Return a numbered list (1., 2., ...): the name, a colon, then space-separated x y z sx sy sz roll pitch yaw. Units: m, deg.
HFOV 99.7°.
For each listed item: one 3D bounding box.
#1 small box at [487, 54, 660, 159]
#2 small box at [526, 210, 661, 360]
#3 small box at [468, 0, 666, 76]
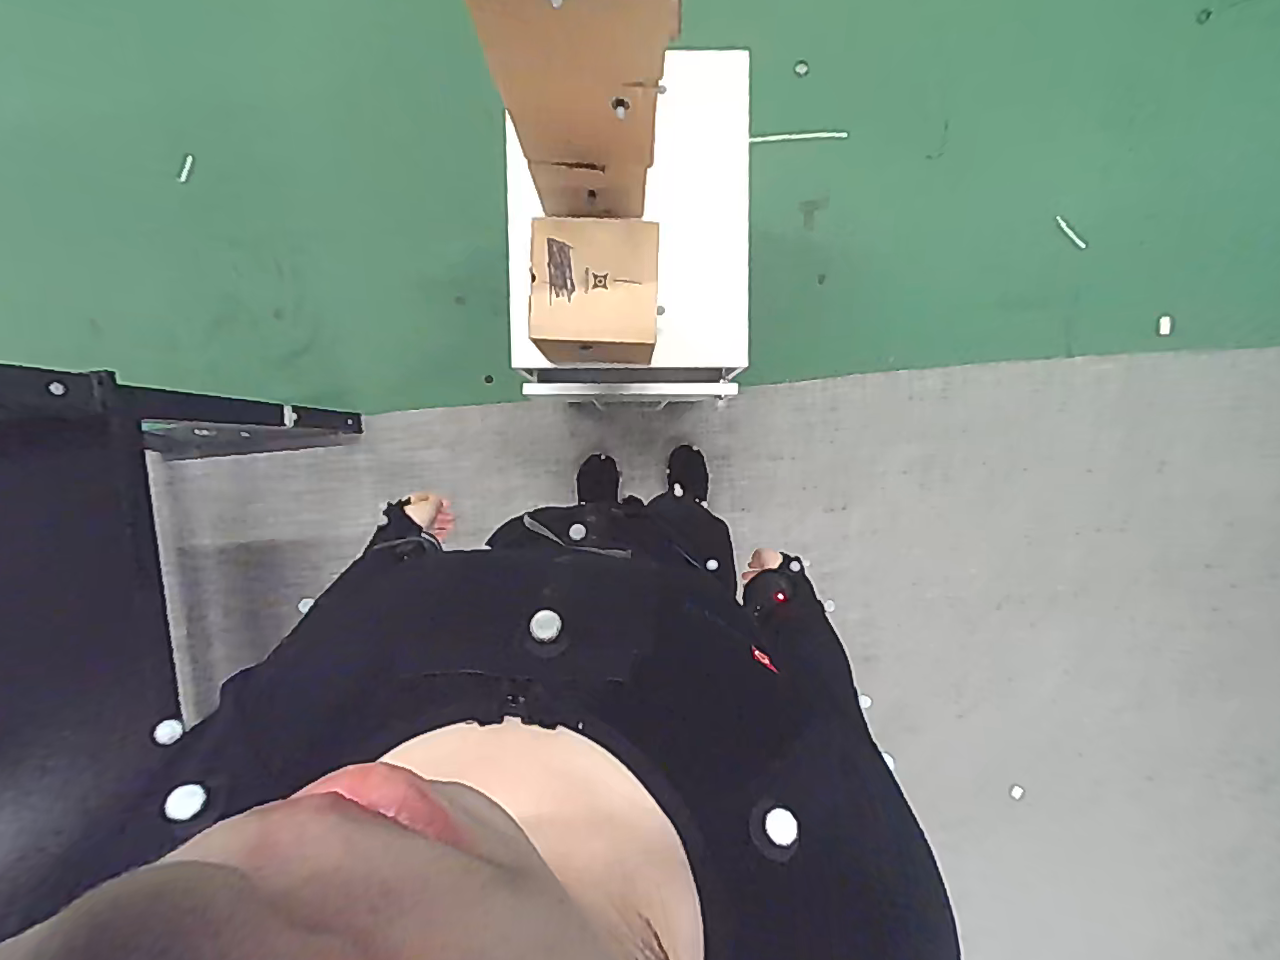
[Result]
1. small box: -0.066 -0.498 0.621 0.179 0.176 0.168 3 94 -2
2. small box: -0.064 -0.275 0.797 0.179 0.176 0.168 2 93 -2
3. small box: -0.067 -0.481 0.458 0.179 0.176 0.168 -4 95 -2
